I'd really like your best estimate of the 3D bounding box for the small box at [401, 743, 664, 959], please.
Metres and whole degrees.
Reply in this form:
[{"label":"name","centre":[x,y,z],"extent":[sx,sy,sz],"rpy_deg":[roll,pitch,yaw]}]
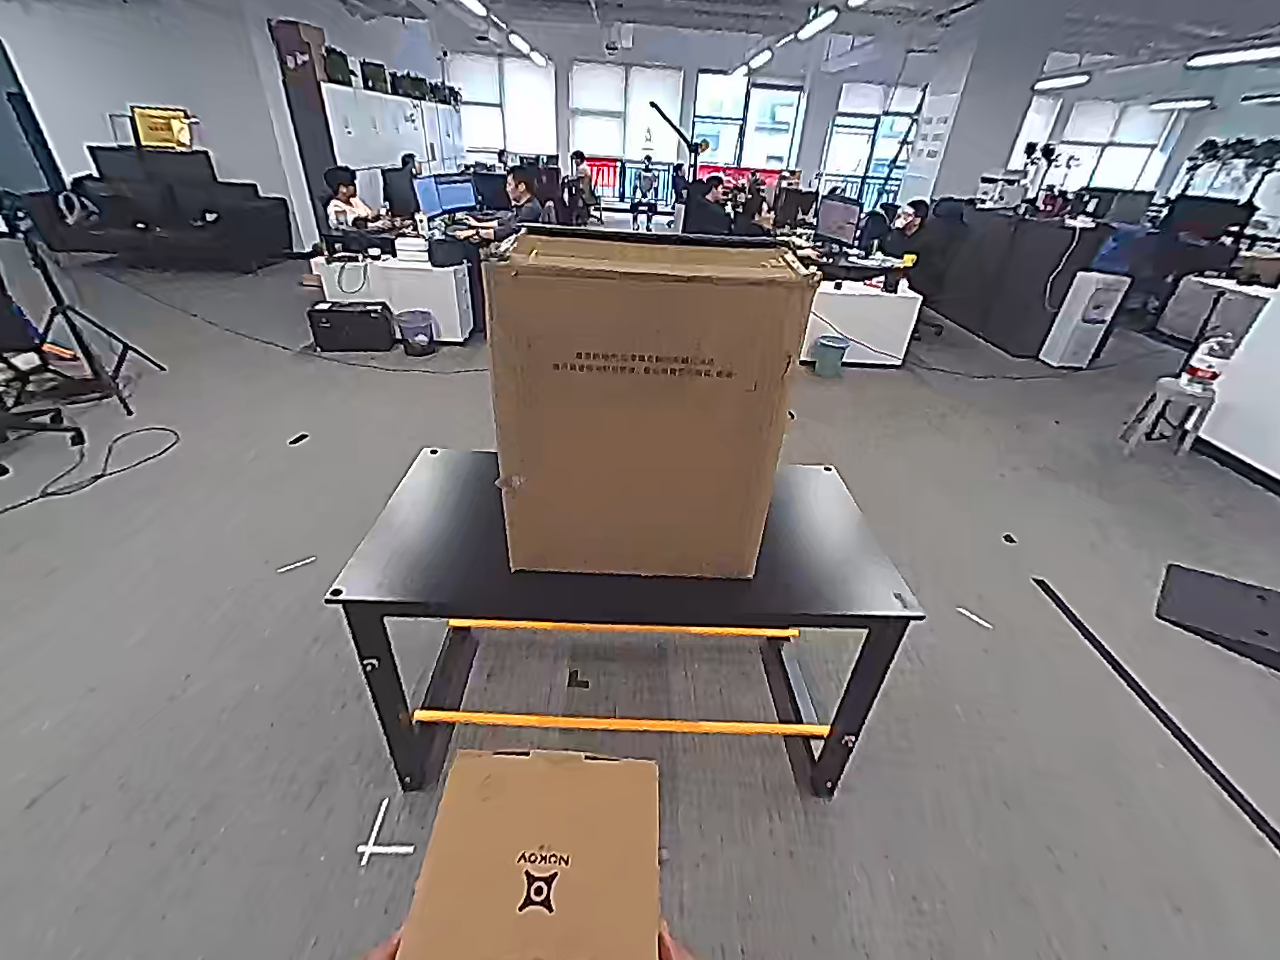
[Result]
[{"label":"small box","centre":[-0.070,0.335,0.422],"extent":[0.168,0.176,0.179],"rpy_deg":[3,39,-1]}]
